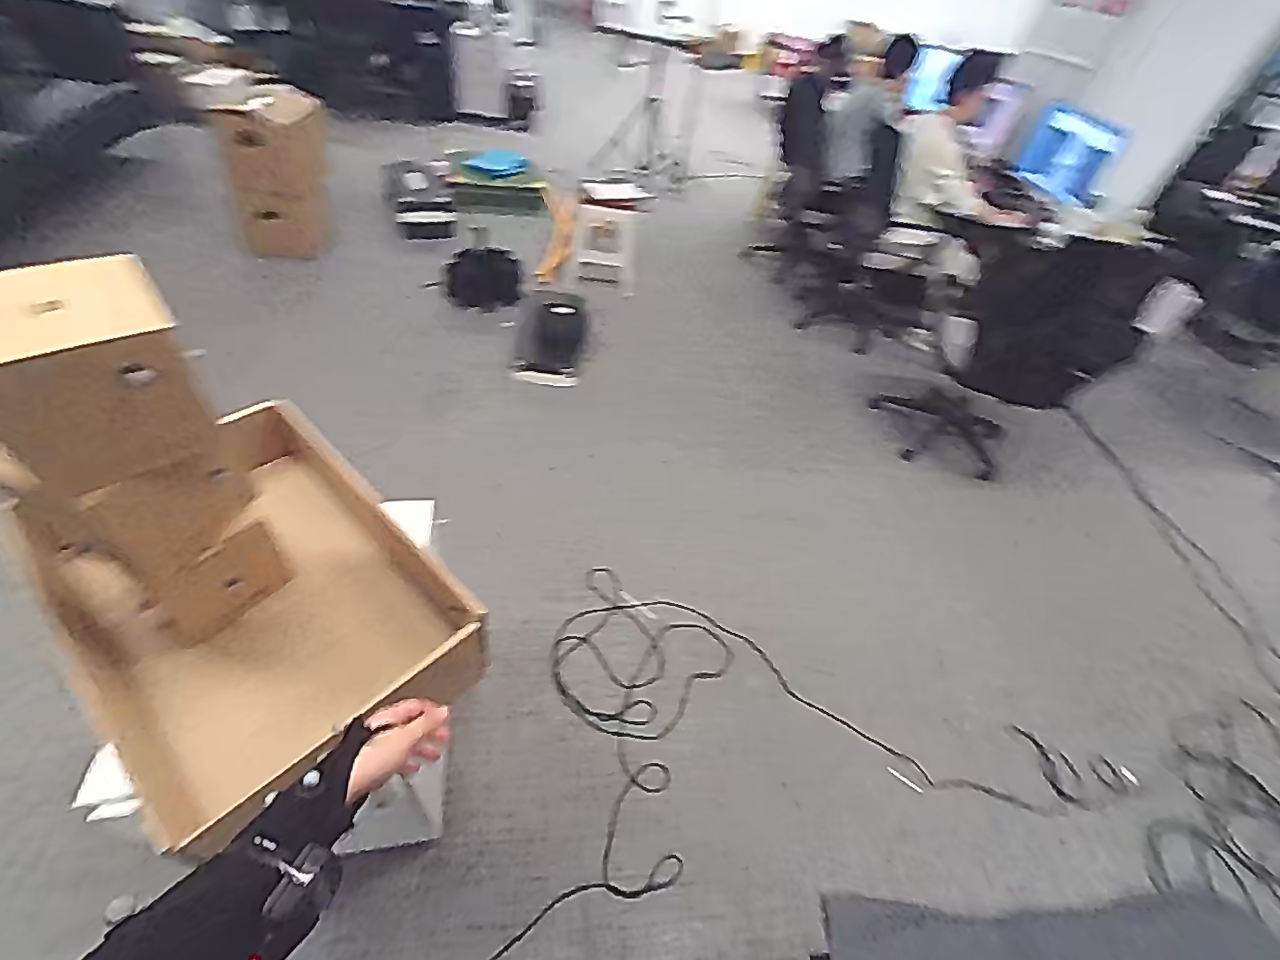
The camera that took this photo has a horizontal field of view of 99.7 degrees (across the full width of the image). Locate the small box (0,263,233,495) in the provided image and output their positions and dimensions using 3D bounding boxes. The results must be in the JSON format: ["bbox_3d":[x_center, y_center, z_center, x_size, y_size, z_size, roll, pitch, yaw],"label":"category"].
[{"bbox_3d":[-0.603,-0.116,0.614,0.179,0.176,0.168,-30,60,-32],"label":"small box"}]

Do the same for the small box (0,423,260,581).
[{"bbox_3d":[-0.654,0.002,0.722,0.168,0.176,0.179,19,49,6],"label":"small box"}]
